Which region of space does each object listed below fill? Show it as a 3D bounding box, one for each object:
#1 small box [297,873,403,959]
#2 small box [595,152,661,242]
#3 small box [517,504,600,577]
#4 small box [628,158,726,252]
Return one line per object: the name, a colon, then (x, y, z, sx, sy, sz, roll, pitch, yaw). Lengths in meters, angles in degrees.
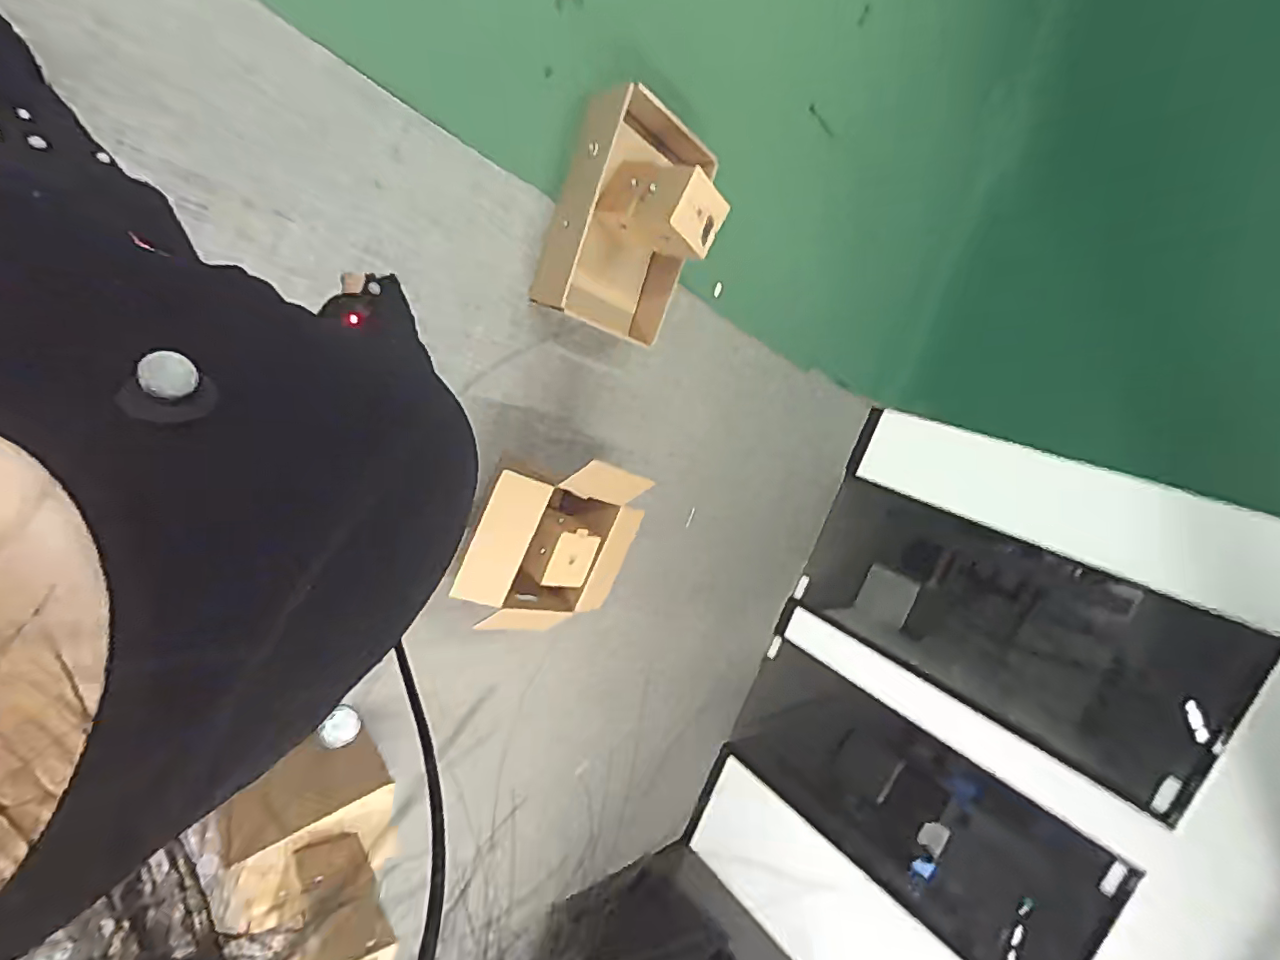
small box: (-0.721, 1.130, 1.333, 0.168, 0.176, 0.179, 14, 103, -49)
small box: (-0.009, -0.842, 1.609, 0.168, 0.176, 0.179, 28, 92, -51)
small box: (-0.263, 0.190, 1.713, 0.168, 0.176, 0.179, 15, 101, -47)
small box: (0.101, -0.770, 1.509, 0.179, 0.176, 0.168, 24, 95, -49)
